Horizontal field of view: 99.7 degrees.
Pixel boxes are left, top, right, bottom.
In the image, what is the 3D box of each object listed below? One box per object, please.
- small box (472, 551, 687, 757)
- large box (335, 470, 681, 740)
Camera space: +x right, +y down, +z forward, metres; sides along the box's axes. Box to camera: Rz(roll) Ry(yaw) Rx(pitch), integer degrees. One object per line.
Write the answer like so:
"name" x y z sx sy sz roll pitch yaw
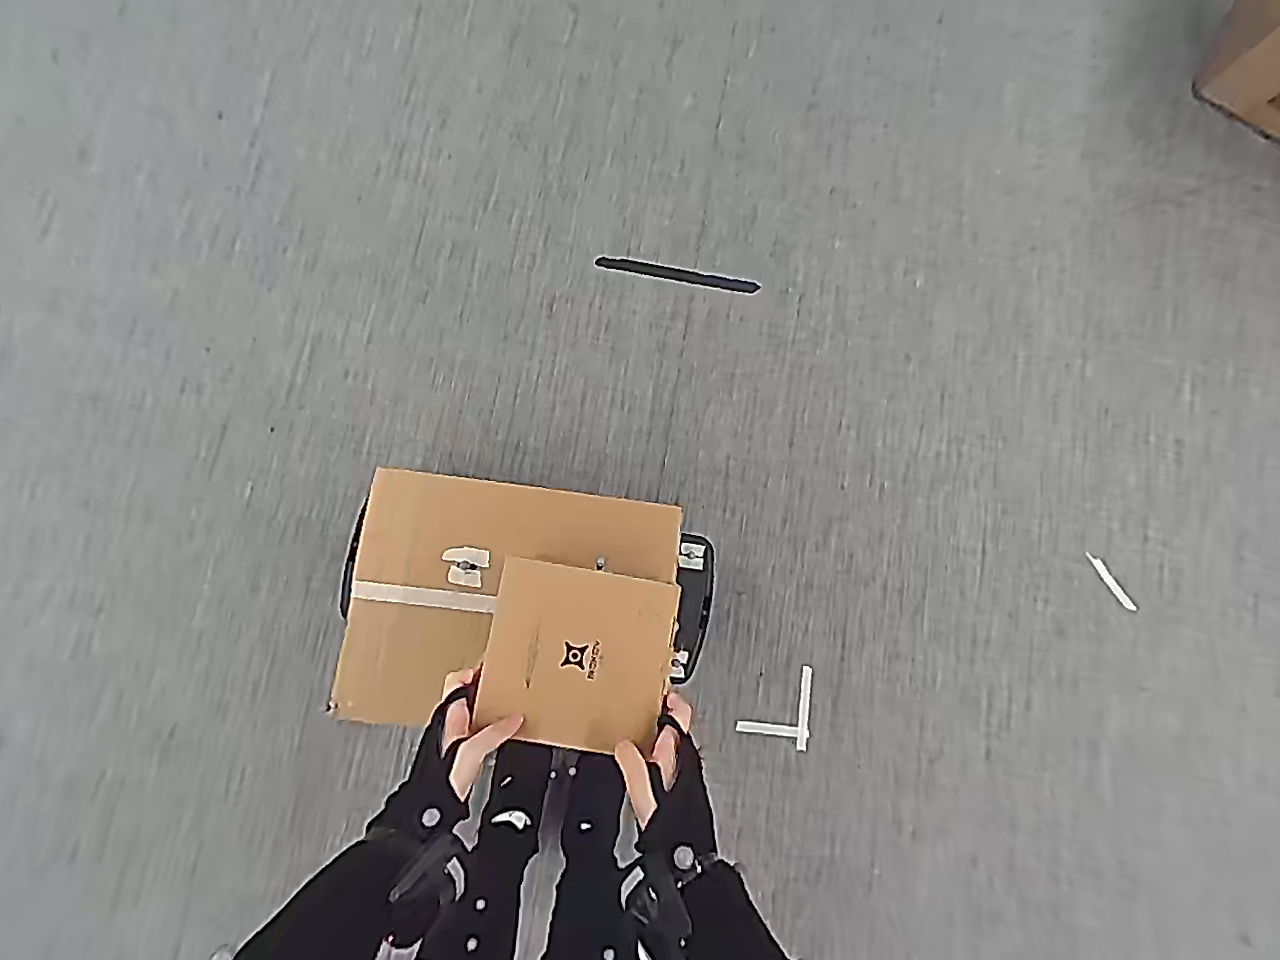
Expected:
"small box" -0.059 0.174 0.588 0.179 0.176 0.168 11 80 -2
"large box" -0.164 0.180 0.830 0.408 0.320 0.320 8 81 -2
